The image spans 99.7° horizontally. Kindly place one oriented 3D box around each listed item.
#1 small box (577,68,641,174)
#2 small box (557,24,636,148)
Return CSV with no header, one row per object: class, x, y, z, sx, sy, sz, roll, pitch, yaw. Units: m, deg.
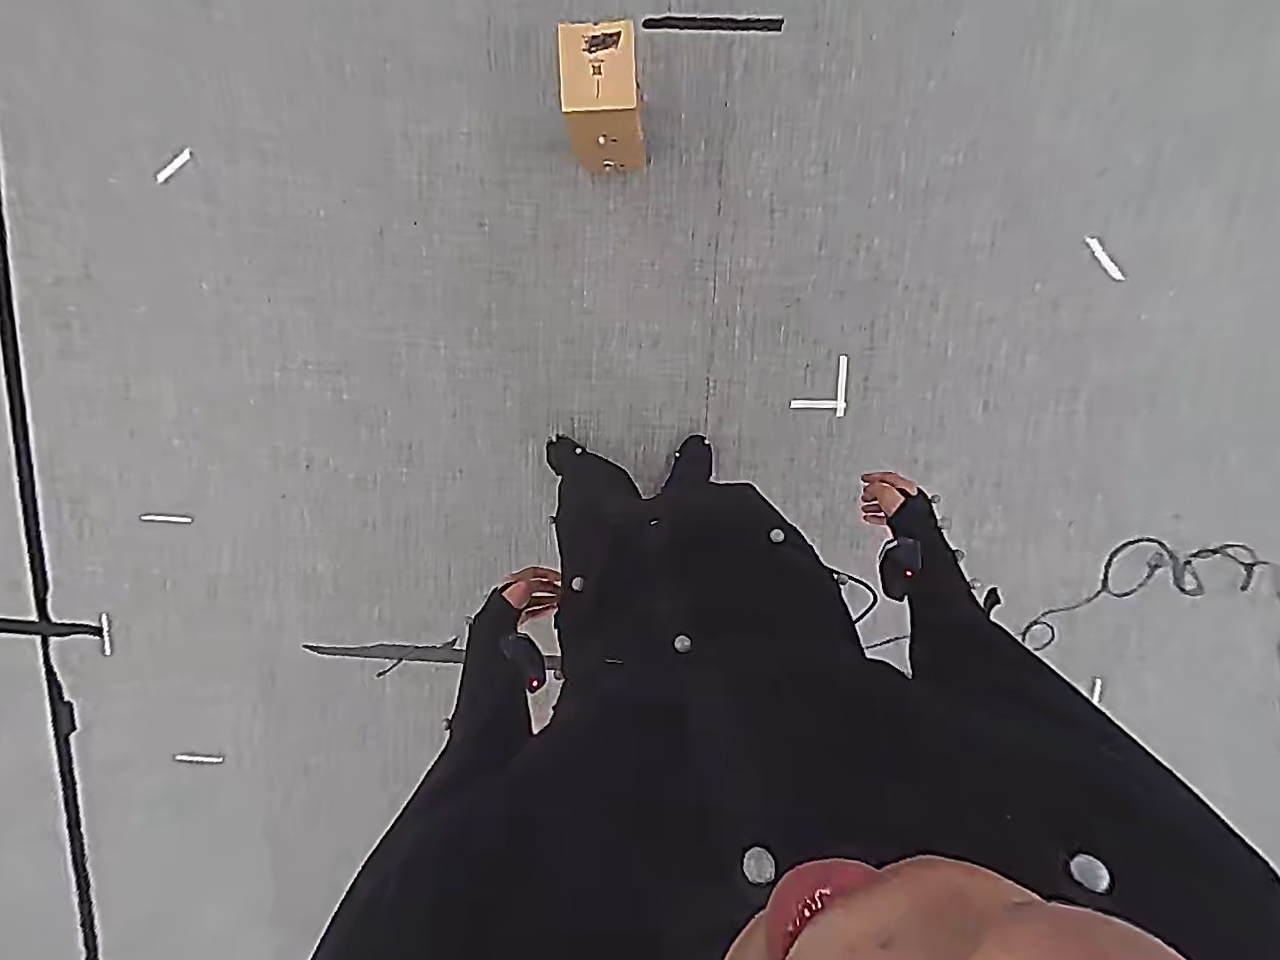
small box,-0.084,-0.924,1.403,0.168,0.176,0.179,-3,99,2
small box,-0.094,-0.895,1.242,0.168,0.176,0.179,-1,99,2
